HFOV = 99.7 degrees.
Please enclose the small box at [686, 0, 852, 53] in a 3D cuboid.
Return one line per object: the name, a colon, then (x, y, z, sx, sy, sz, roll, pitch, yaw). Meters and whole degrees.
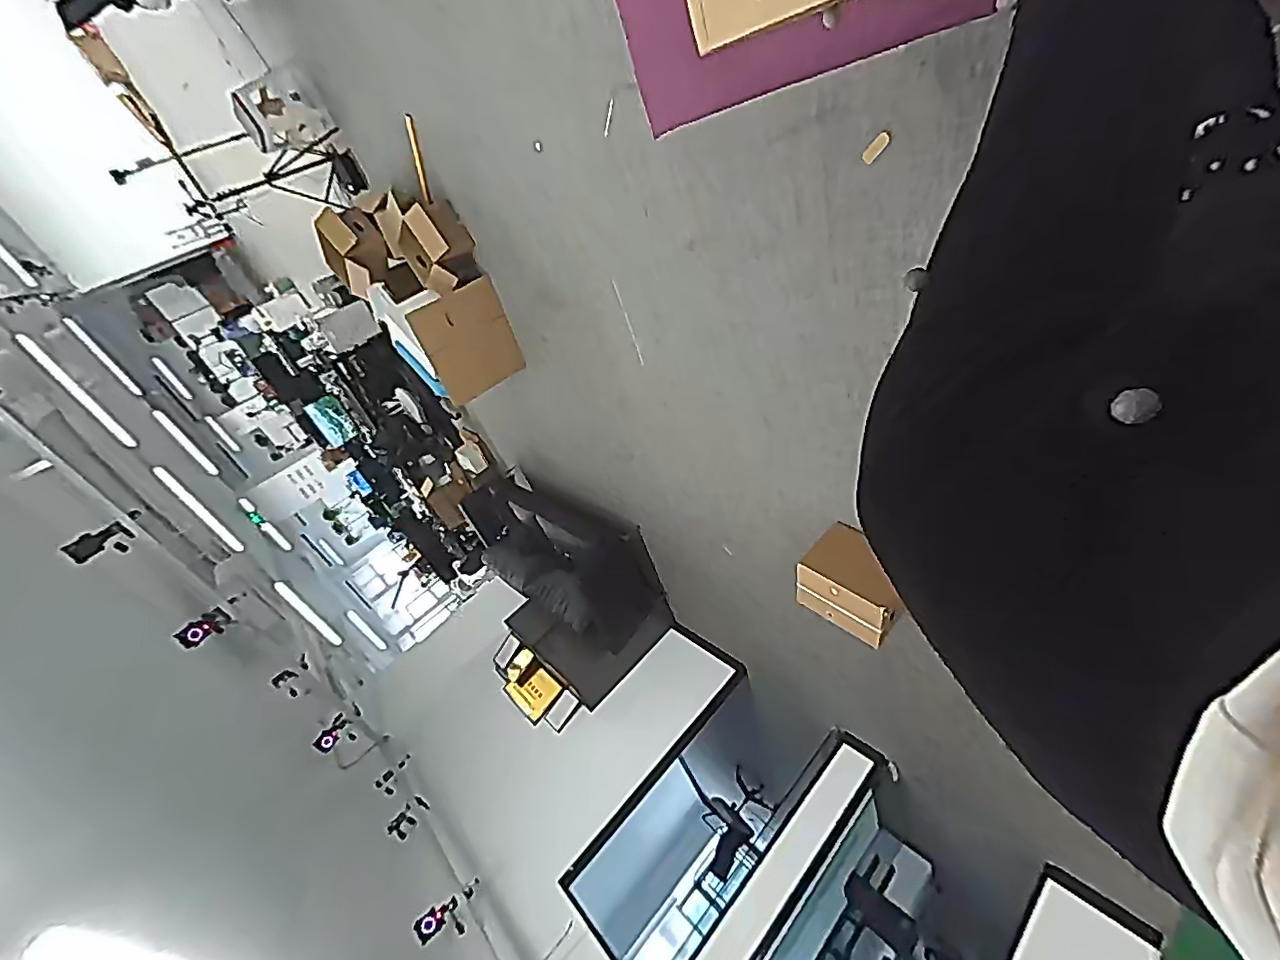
small box: (0.143, -0.515, 0.468, 0.168, 0.176, 0.179, 22, 143, 46)
